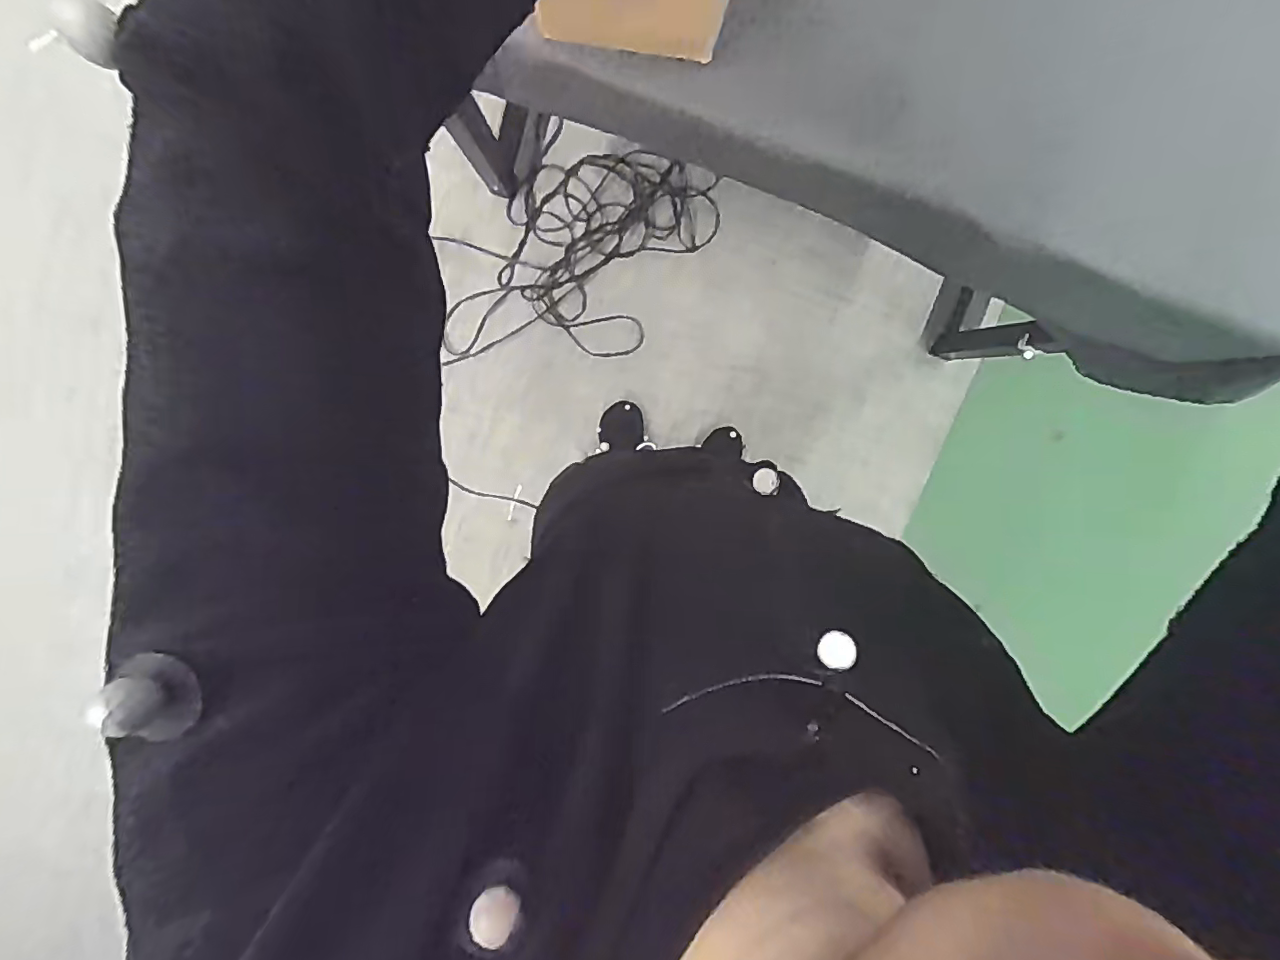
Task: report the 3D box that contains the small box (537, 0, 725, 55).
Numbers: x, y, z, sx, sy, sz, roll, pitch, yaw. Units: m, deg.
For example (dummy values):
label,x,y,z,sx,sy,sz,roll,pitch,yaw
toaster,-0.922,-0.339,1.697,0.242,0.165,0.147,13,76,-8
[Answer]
label,x,y,z,sx,sy,sz,roll,pitch,yaw
small box,0.001,-0.503,0.455,0.179,0.176,0.168,7,99,-3
